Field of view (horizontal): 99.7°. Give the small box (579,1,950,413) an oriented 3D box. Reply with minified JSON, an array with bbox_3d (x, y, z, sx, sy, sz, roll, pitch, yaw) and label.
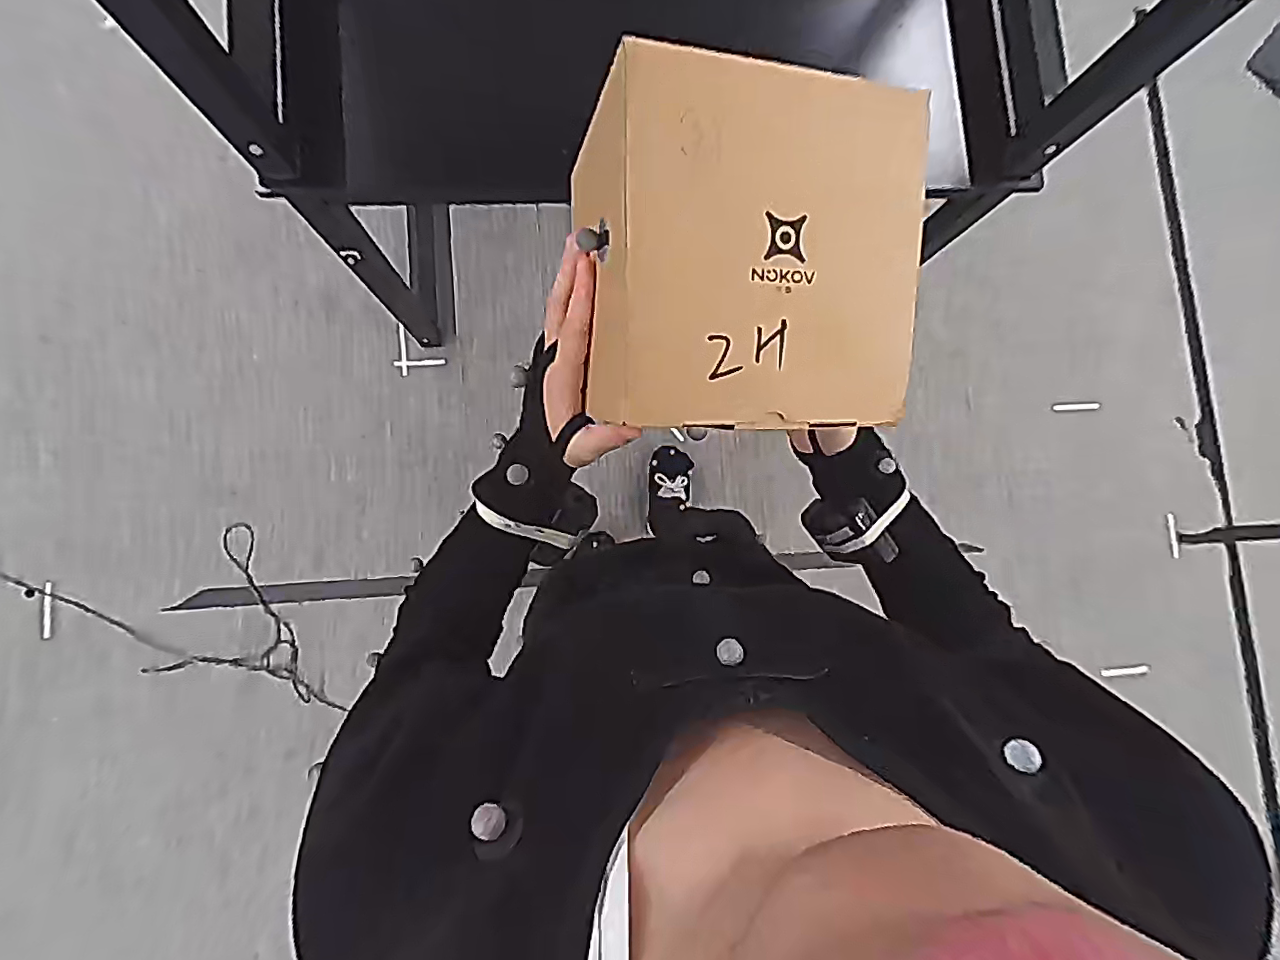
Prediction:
[{"bbox_3d":[0.054,-0.133,0.338,0.168,0.176,0.179,-2,101,-14],"label":"small box"}]
